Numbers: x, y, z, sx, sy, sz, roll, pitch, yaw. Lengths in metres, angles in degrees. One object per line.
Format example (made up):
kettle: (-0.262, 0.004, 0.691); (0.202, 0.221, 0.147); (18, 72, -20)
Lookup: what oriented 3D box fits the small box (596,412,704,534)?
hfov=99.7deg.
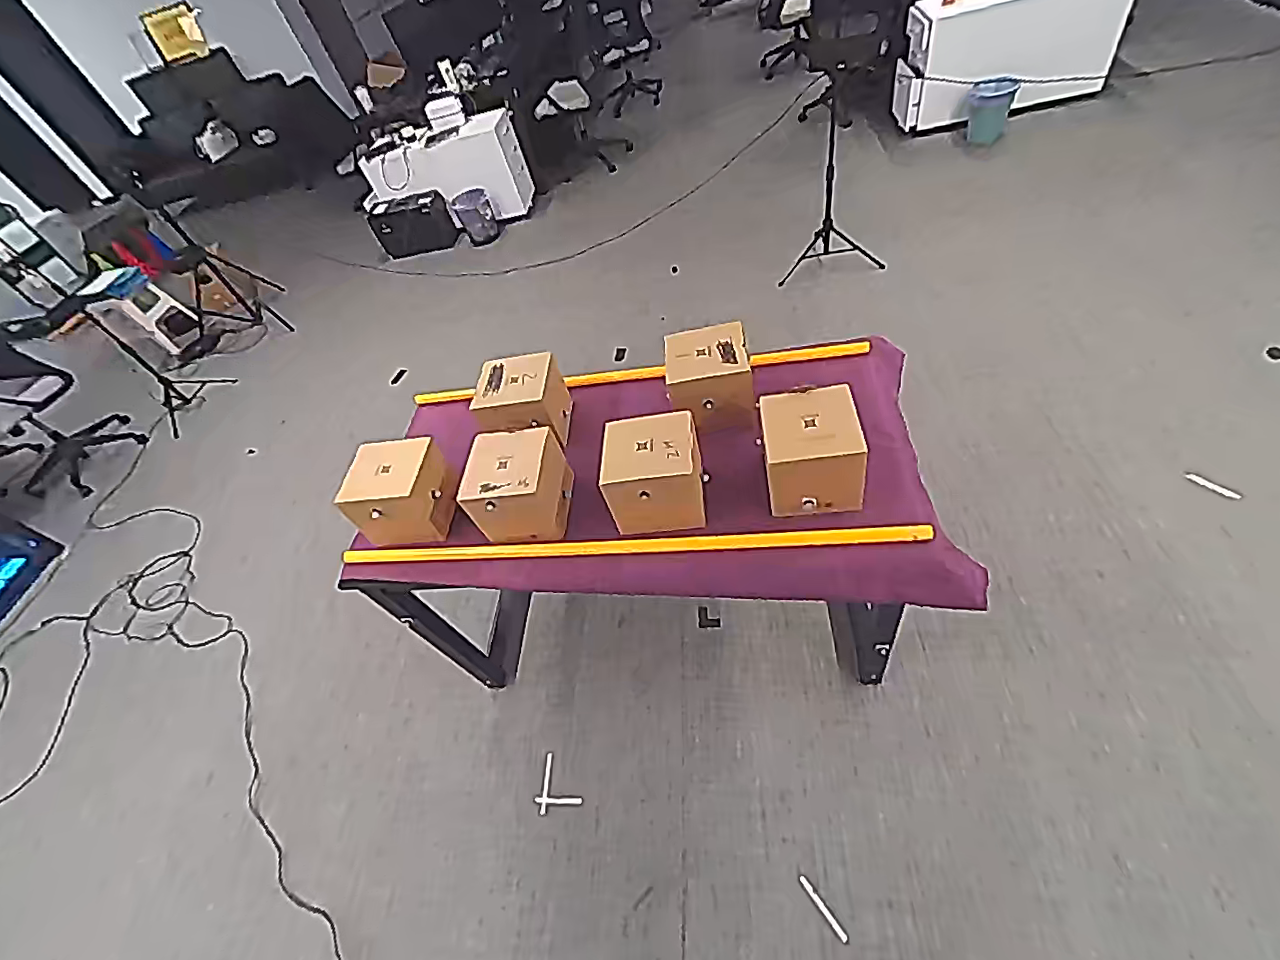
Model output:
small box: (0.026, -0.008, 1.066); (0.179, 0.176, 0.168); (-7, 49, 11)

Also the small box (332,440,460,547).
small box: (-0.524, 0.034, 1.196); (0.179, 0.176, 0.168); (-6, 50, 11)

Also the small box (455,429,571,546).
small box: (-0.252, 0.018, 1.130); (0.168, 0.176, 0.179); (-6, 50, 13)

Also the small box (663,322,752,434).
small box: (0.153, -0.220, 1.203); (0.179, 0.176, 0.168); (-8, 51, 11)

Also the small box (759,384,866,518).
small box: (0.317, -0.051, 1.014); (0.168, 0.176, 0.179); (-7, 48, 13)
